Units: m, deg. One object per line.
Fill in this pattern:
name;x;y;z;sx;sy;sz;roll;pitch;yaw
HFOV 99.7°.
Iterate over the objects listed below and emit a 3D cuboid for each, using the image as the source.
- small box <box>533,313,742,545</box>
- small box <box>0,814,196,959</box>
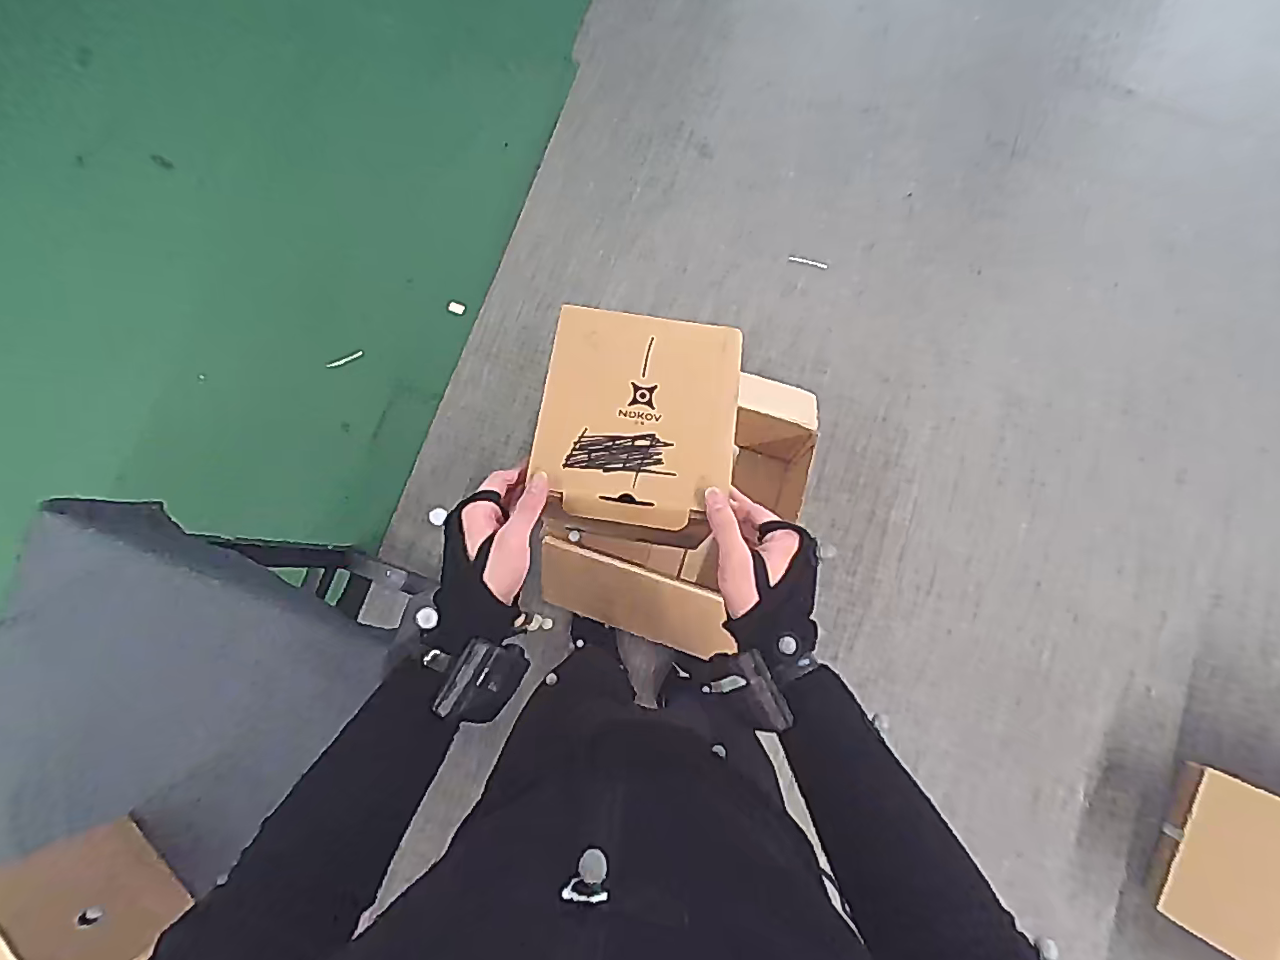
small box;-0.002;-0.039;0.556;0.168;0.176;0.179;9;72;-1
small box;-0.682;0.538;0.626;0.179;0.176;0.168;40;86;11
